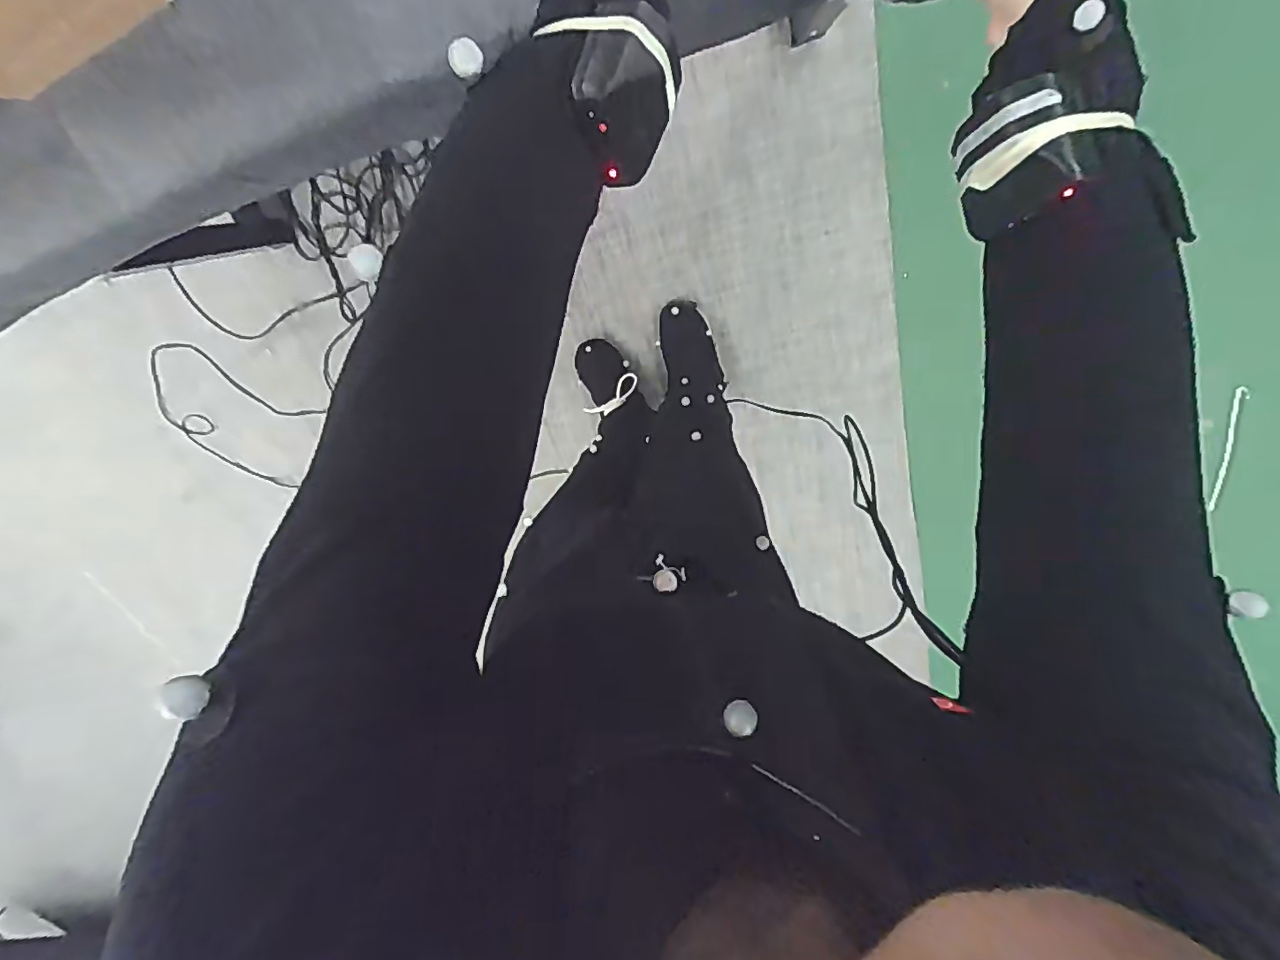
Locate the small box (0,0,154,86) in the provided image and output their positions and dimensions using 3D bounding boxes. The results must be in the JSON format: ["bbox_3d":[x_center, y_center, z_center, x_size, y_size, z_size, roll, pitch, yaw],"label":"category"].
[{"bbox_3d":[-0.446,-0.359,0.307,0.179,0.176,0.168,-17,116,15],"label":"small box"}]
